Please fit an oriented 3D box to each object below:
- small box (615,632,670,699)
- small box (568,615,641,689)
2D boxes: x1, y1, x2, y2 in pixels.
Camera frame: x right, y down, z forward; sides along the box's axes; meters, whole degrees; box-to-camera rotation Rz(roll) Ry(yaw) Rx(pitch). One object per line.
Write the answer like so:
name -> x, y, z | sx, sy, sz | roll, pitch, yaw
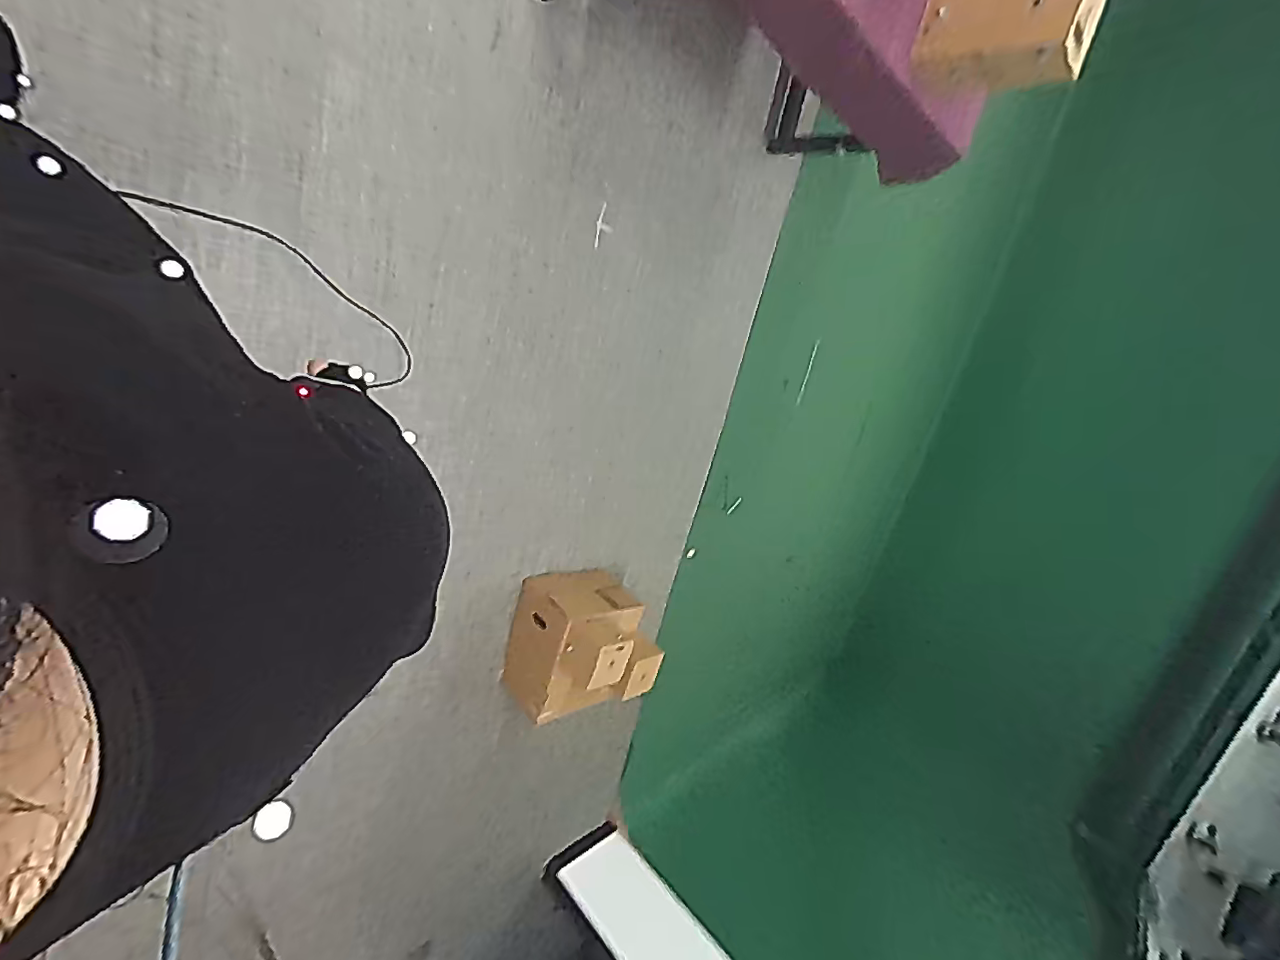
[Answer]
small box -> -0.018, 0.710, 2.102 | 0.168, 0.176, 0.179 | 2, 111, -47
small box -> -0.132, 0.602, 1.914 | 0.168, 0.176, 0.179 | 6, 108, -48
